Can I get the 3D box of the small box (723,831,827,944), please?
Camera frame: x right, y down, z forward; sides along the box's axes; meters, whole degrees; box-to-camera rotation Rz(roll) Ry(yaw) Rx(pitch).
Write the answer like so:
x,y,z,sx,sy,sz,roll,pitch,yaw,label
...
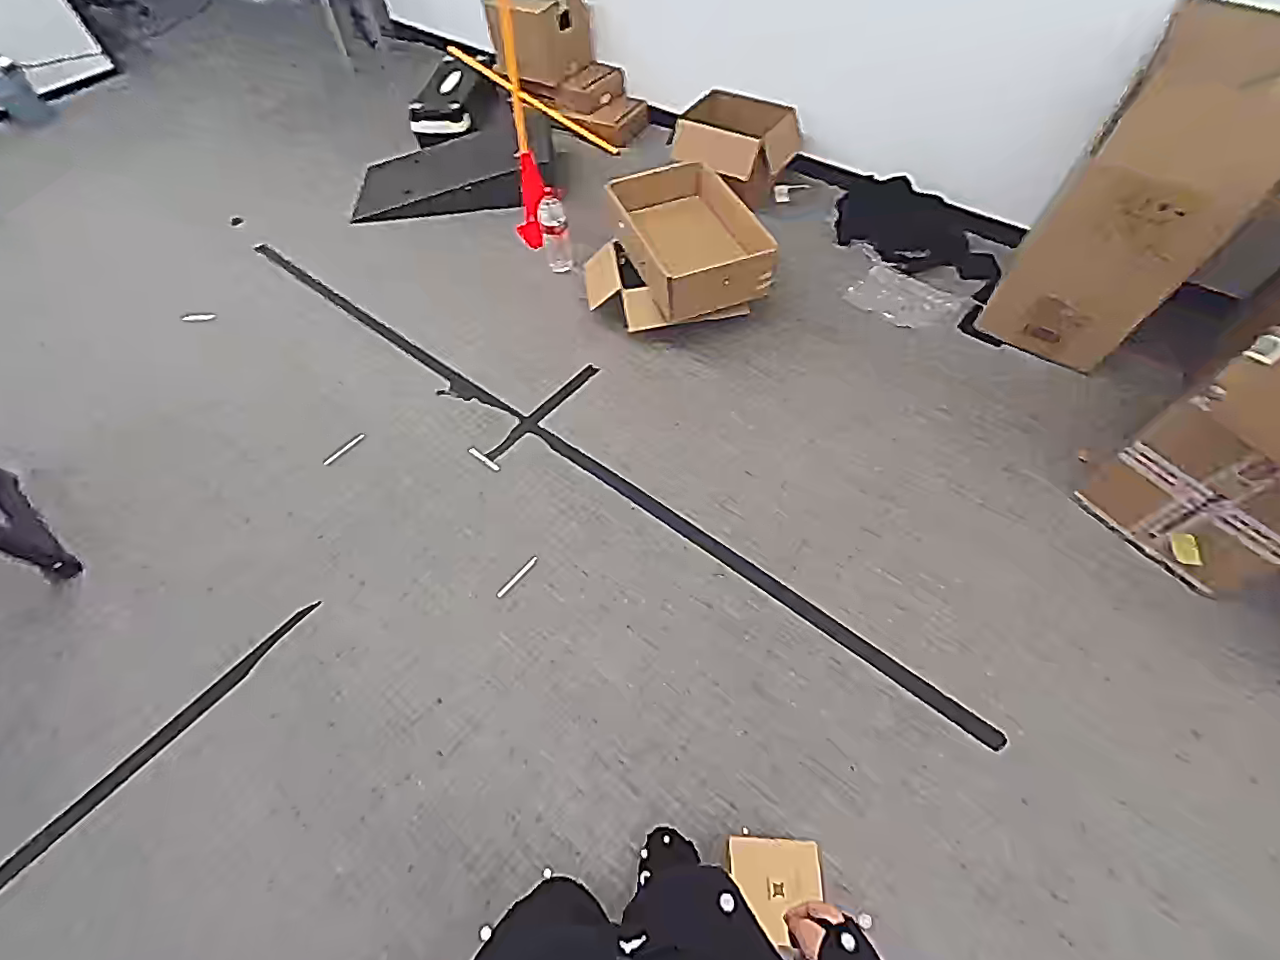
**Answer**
x,y,z,sx,sy,sz,roll,pitch,yaw,label
0.262,0.816,1.097,0.179,0.176,0.168,1,59,2,small box
